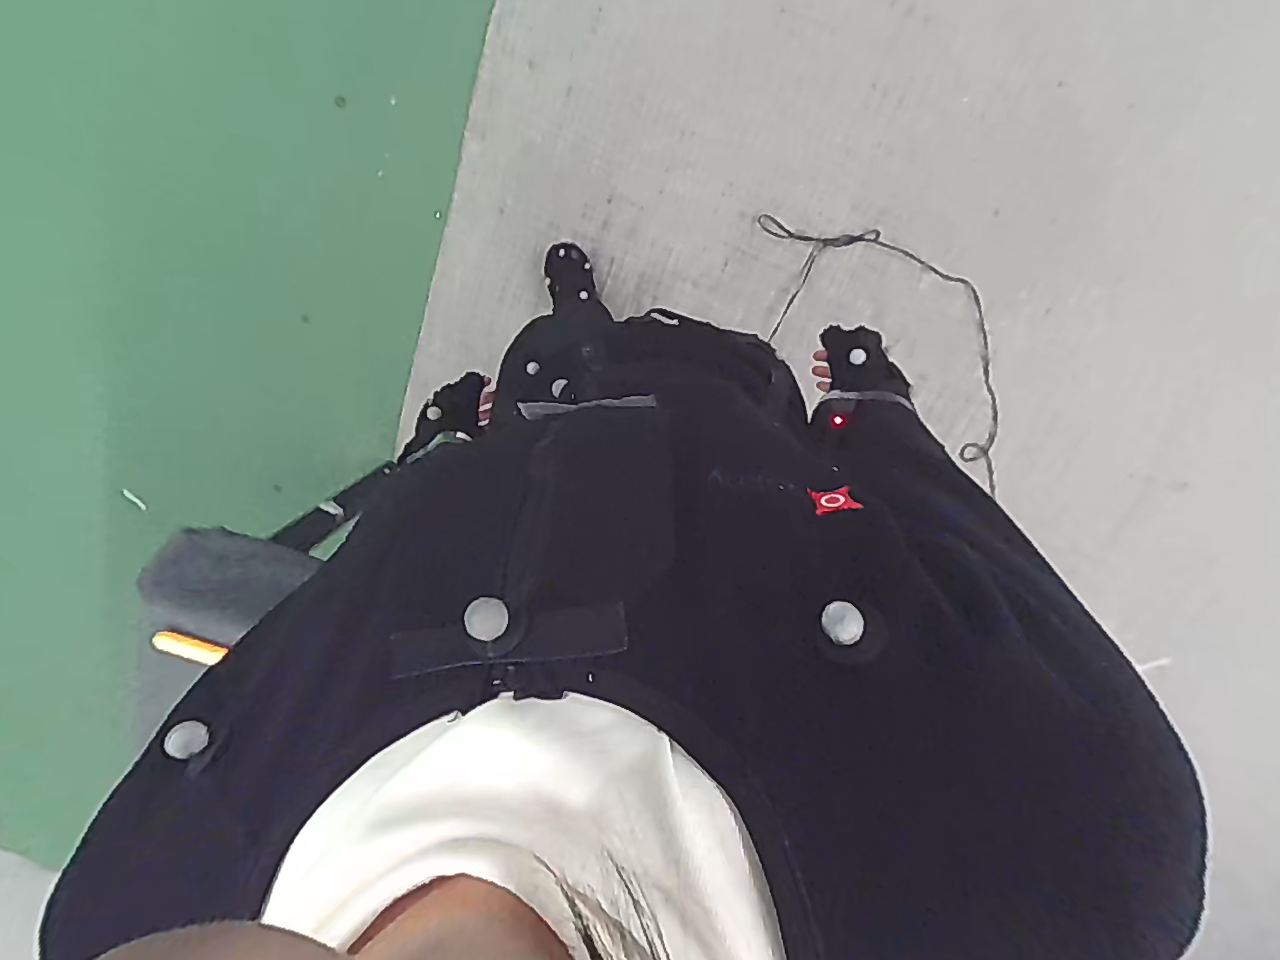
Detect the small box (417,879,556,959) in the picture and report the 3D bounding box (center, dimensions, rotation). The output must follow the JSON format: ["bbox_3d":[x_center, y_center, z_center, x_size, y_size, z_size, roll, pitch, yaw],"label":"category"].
[{"bbox_3d":[-0.219,0.675,0.702,0.168,0.176,0.179,19,110,-3],"label":"small box"}]

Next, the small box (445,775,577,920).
[{"bbox_3d":[-0.206,0.614,0.855,0.168,0.176,0.179,18,111,-4],"label":"small box"}]
